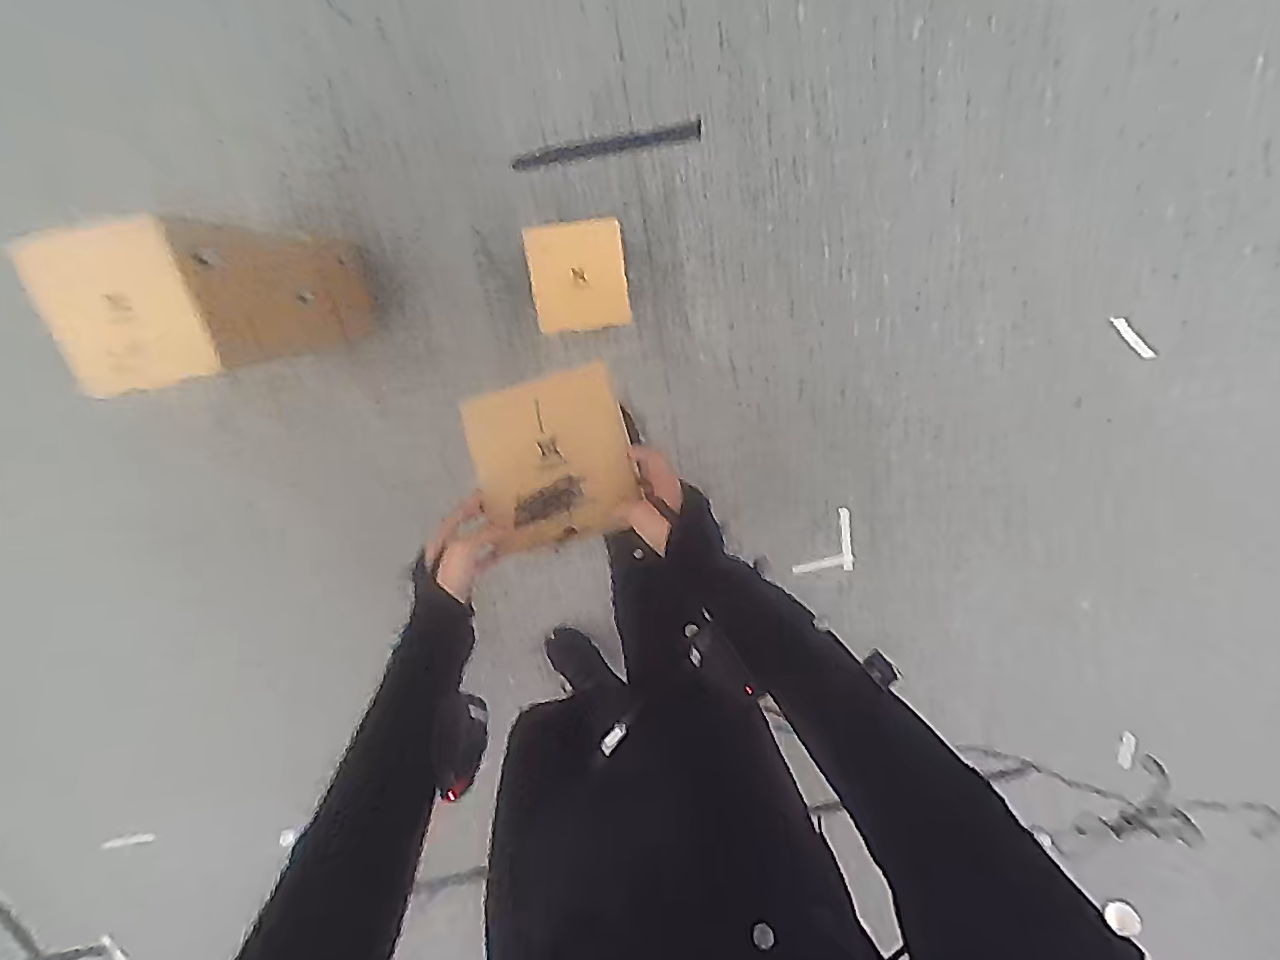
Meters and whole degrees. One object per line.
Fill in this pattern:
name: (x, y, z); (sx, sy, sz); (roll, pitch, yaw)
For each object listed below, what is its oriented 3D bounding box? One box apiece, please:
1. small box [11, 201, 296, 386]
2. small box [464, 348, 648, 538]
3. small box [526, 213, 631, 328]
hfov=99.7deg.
small box: (-0.582, -0.231, 0.680); (0.168, 0.176, 0.179); (-11, 111, 1)
small box: (-0.089, -0.034, 0.662); (0.168, 0.176, 0.179); (-16, 83, 1)
small box: (-0.113, -0.389, 1.016); (0.168, 0.176, 0.179); (-8, 111, -3)
